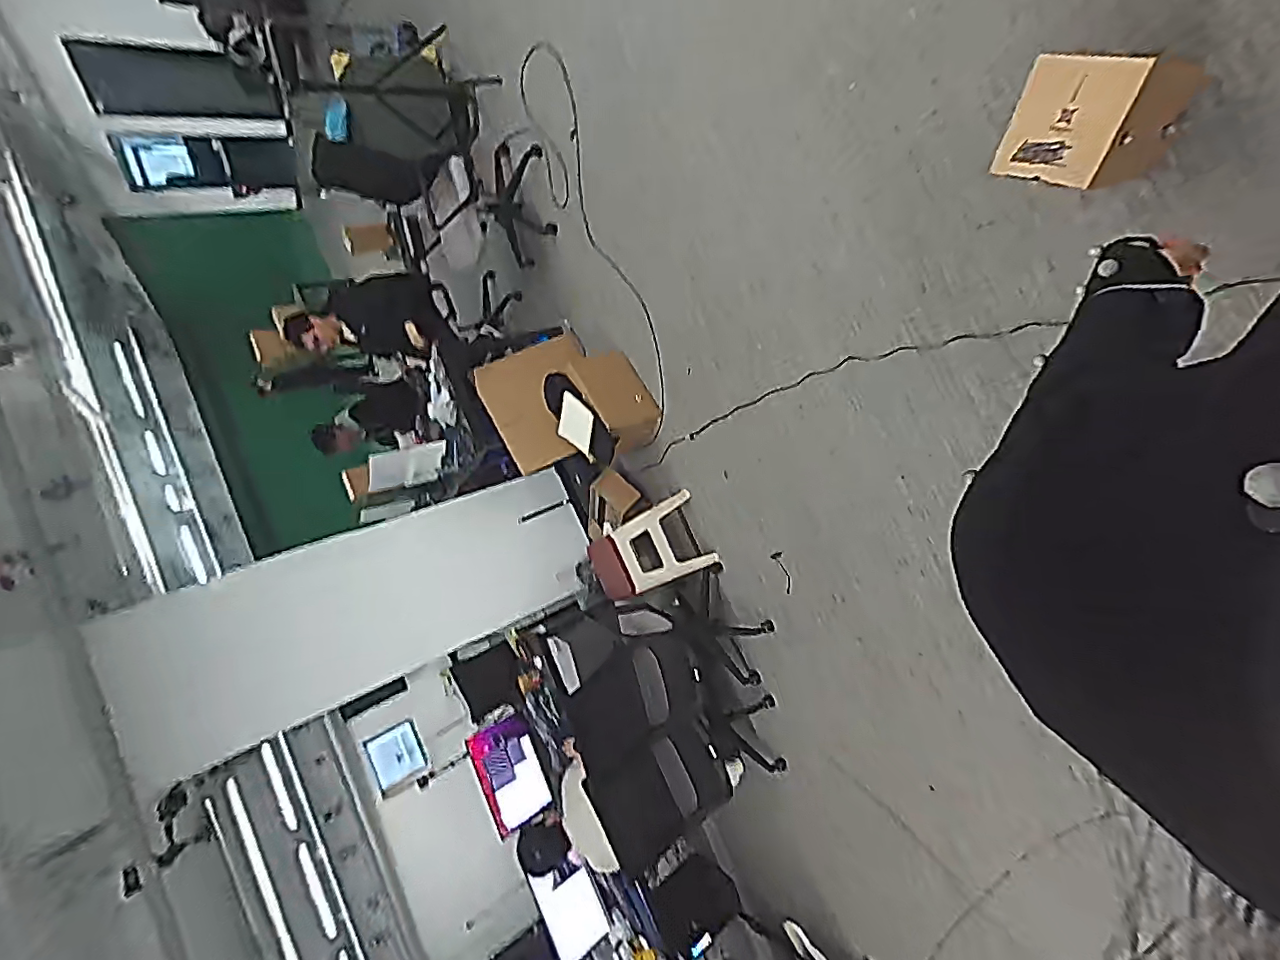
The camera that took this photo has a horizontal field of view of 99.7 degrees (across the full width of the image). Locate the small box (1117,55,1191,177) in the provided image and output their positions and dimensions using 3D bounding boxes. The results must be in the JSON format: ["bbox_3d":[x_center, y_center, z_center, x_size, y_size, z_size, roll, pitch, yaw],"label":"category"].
[{"bbox_3d":[0.883,-0.686,1.023,0.168,0.176,0.179,40,138,38],"label":"small box"}]

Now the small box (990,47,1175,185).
[{"bbox_3d":[0.759,-0.624,0.931,0.168,0.176,0.179,41,139,37],"label":"small box"}]
